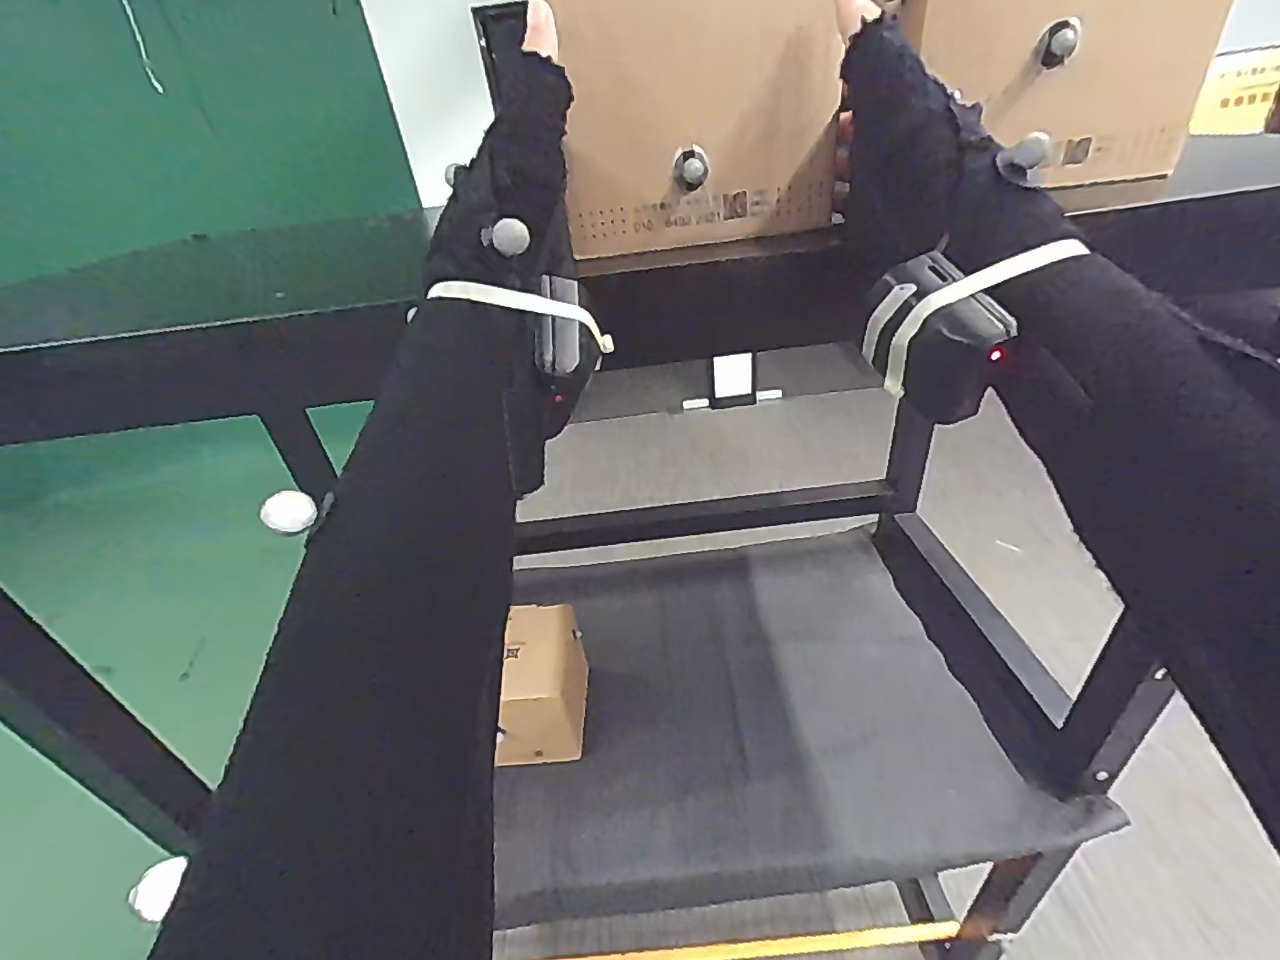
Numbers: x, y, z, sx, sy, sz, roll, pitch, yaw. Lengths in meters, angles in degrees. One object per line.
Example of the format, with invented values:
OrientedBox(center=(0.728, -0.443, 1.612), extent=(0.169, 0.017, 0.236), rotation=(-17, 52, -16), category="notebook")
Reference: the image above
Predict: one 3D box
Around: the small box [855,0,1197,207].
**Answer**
OrientedBox(center=(0.265, -0.309, 0.402), extent=(0.168, 0.176, 0.179), rotation=(0, 33, 11), category="small box")

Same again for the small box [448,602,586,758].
OrientedBox(center=(-0.184, 0.325, 0.871), extent=(0.168, 0.176, 0.179), rotation=(-6, 32, 2), category="small box")
